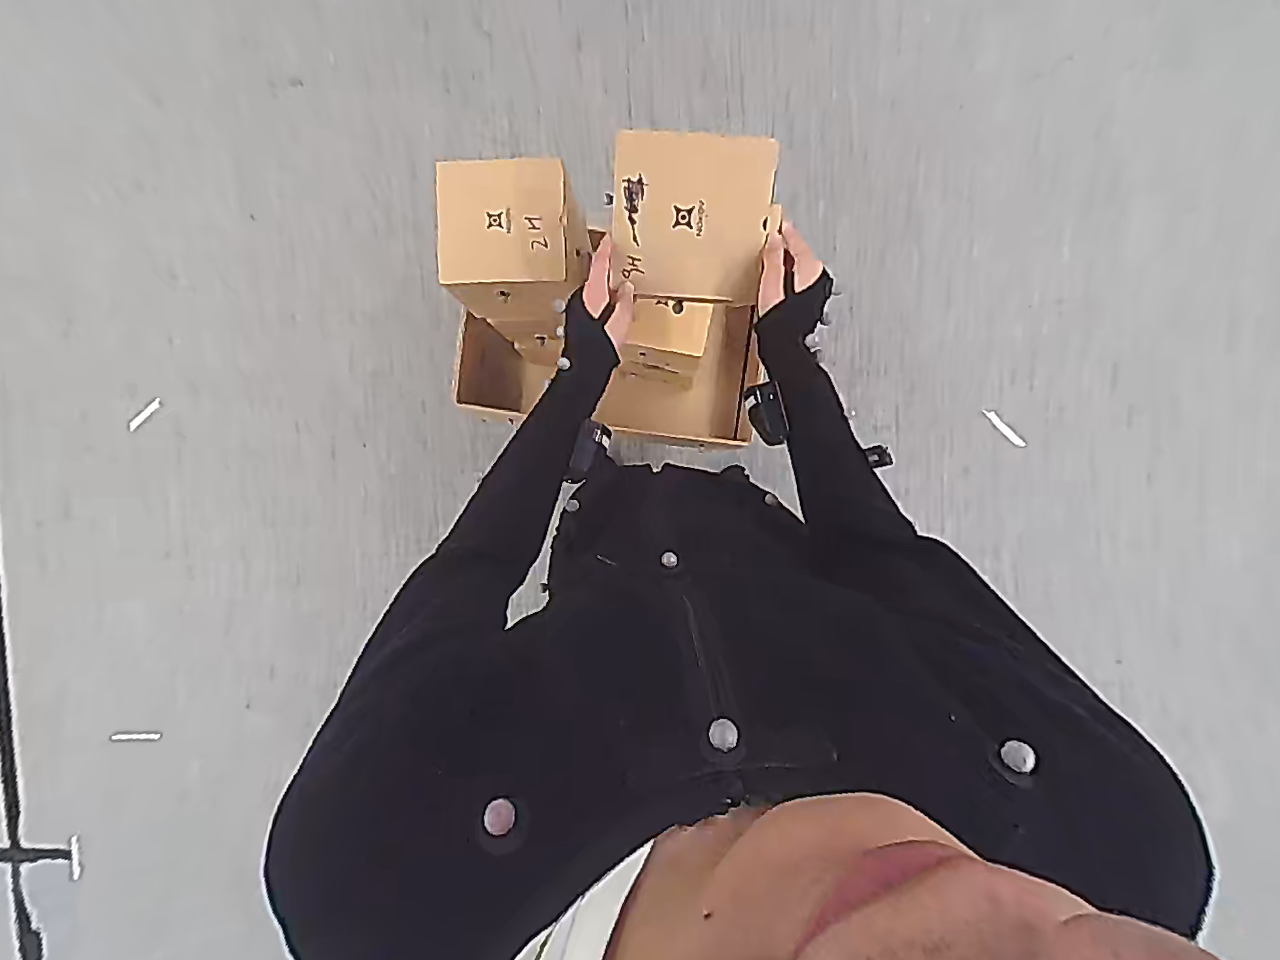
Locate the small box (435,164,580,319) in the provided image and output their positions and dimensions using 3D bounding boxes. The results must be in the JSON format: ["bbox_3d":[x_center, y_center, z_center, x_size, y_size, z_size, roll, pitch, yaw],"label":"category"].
[{"bbox_3d":[-0.187,-0.343,0.806,0.179,0.176,0.168,-1,92,0],"label":"small box"}]

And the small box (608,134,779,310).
[{"bbox_3d":[0.055,-0.303,0.669,0.179,0.176,0.168,4,107,-1],"label":"small box"}]

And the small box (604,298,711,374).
[{"bbox_3d":[0.041,-0.297,0.967,0.168,0.176,0.179,11,91,3],"label":"small box"}]
